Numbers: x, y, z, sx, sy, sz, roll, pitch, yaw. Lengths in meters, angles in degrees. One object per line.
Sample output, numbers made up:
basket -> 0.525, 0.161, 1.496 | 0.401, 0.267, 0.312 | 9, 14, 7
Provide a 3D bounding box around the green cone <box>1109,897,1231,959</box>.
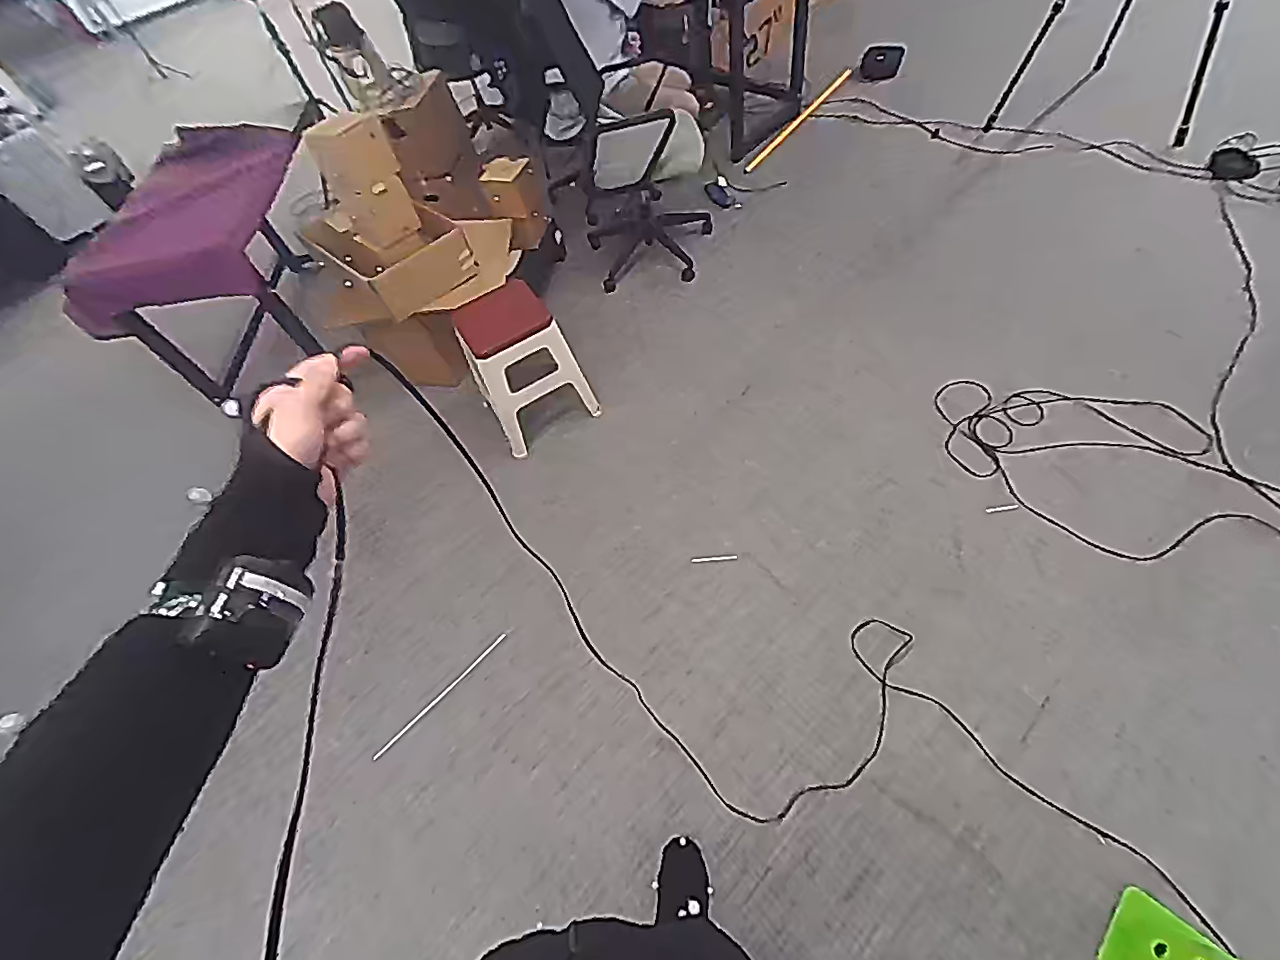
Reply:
green cone -> 1.008, 0.867, 0.899 | 0.200, 0.368, 0.202 | 34, 67, 28
